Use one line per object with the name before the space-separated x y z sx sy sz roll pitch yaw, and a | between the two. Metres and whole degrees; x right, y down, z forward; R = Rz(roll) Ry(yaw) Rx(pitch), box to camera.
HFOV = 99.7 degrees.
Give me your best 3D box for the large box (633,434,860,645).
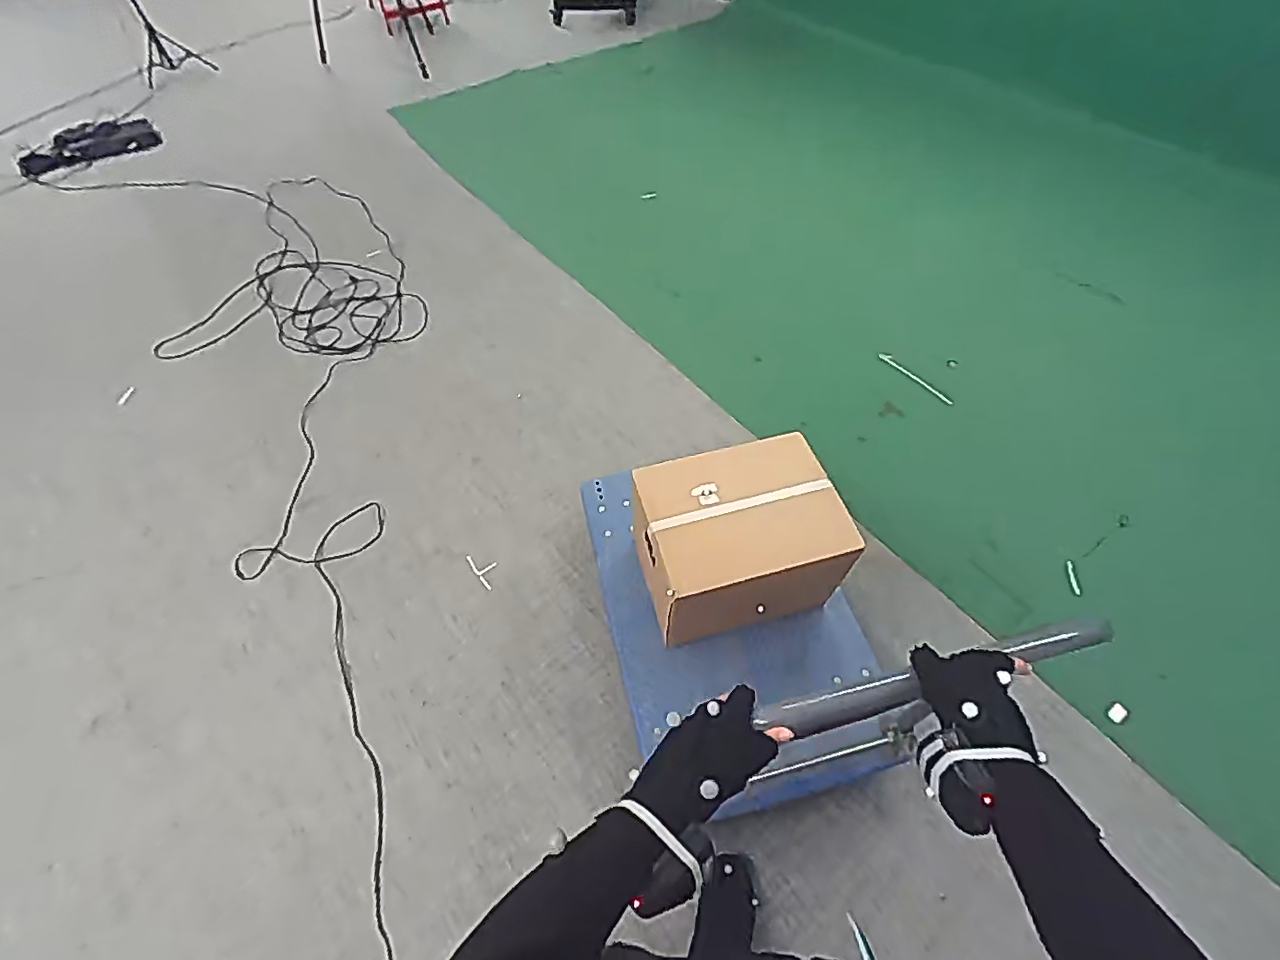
large box | 0.219 0.144 1.263 0.408 0.320 0.320 -14 57 -8
